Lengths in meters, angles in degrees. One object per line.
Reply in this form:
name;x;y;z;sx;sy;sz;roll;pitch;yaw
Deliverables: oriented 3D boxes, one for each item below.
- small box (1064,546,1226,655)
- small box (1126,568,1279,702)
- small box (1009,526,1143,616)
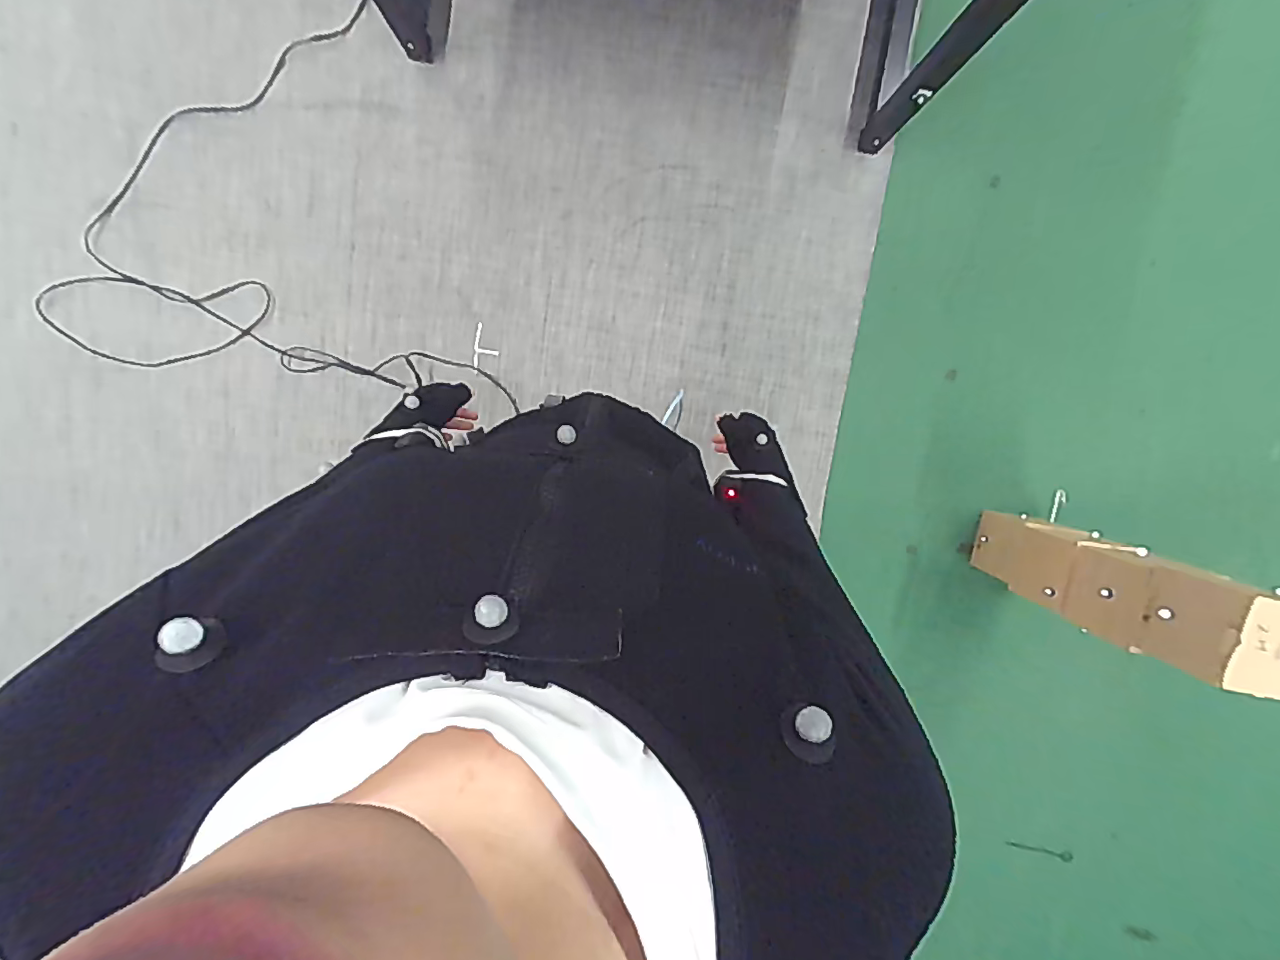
small box;1.042;0.252;1.133;0.168;0.176;0.179;7;99;-2
small box;1.049;0.271;0.970;0.179;0.176;0.168;12;98;-3
small box;1.031;0.219;1.294;0.168;0.176;0.179;9;99;-2
